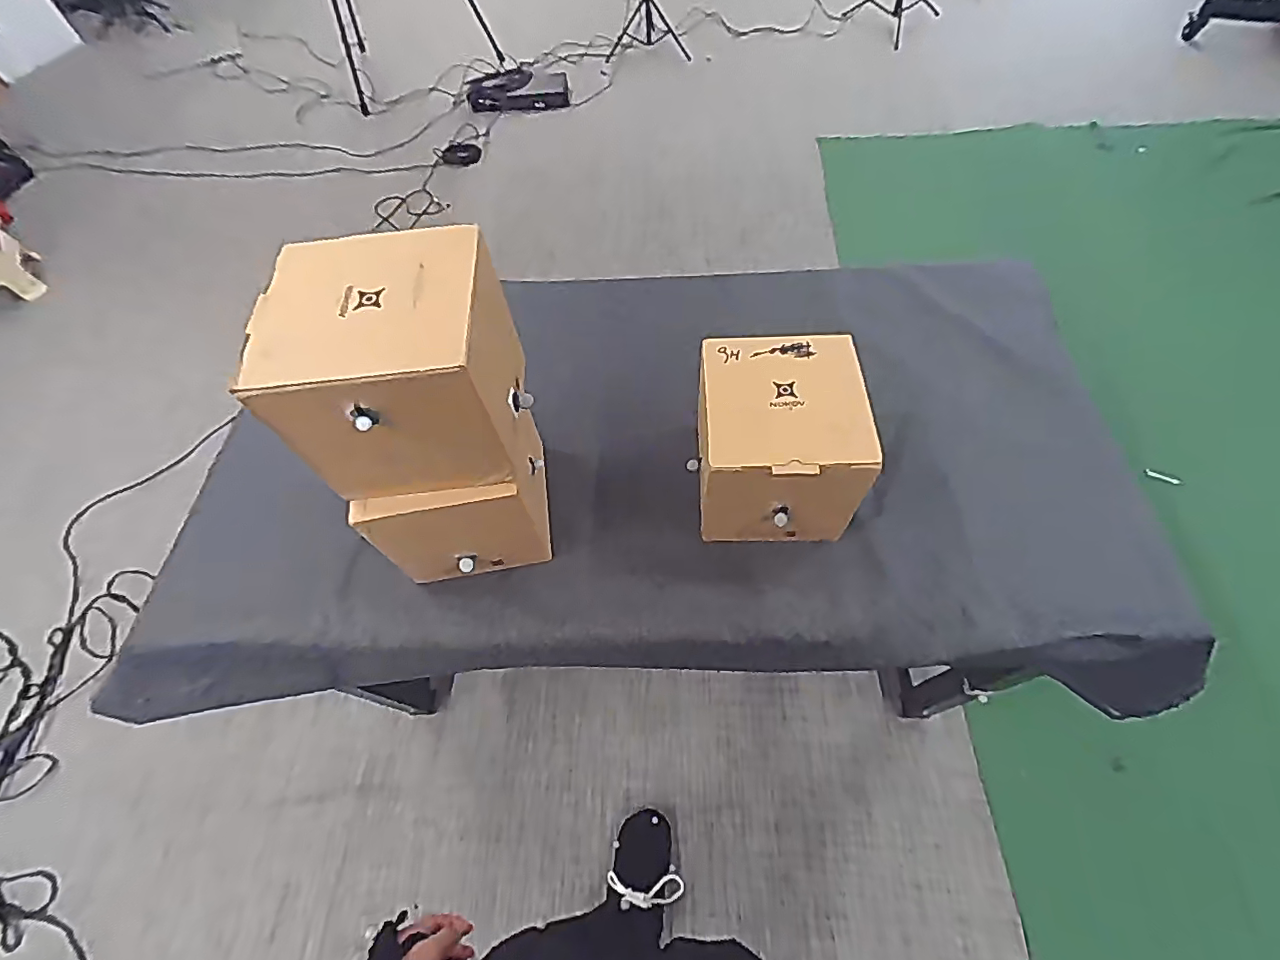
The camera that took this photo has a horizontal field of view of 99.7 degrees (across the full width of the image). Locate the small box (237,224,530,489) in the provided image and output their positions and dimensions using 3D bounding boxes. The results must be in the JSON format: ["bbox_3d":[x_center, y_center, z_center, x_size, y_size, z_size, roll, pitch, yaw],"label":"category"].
[{"bbox_3d":[-0.209,-0.103,0.498,0.179,0.176,0.168,-6,60,-1],"label":"small box"}]

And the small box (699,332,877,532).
[{"bbox_3d":[0.155,-0.047,0.630,0.168,0.176,0.179,-1,60,4],"label":"small box"}]

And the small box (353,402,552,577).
[{"bbox_3d":[-0.203,-0.007,0.630,0.168,0.176,0.179,-10,60,-2],"label":"small box"}]
